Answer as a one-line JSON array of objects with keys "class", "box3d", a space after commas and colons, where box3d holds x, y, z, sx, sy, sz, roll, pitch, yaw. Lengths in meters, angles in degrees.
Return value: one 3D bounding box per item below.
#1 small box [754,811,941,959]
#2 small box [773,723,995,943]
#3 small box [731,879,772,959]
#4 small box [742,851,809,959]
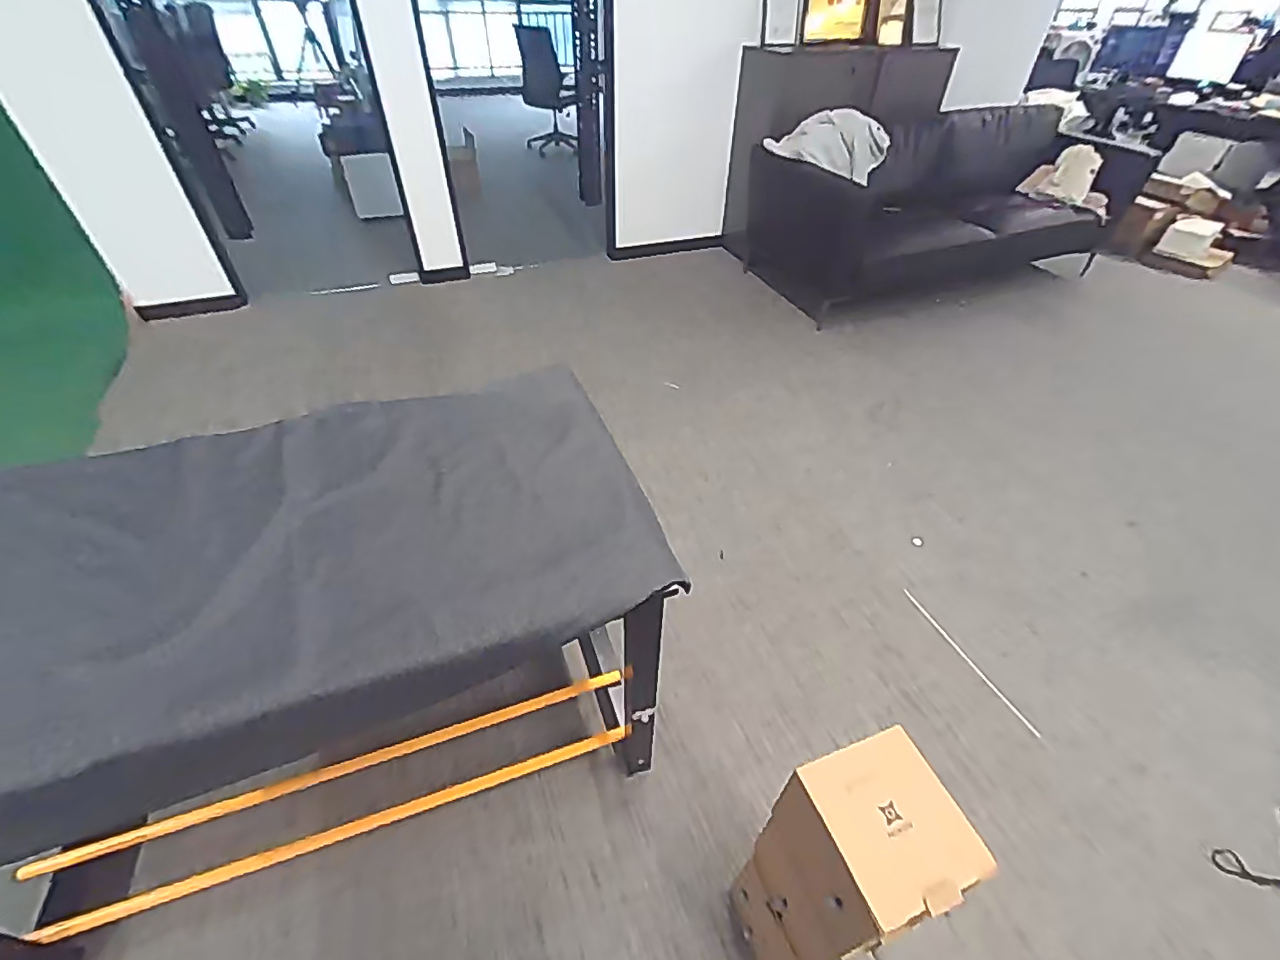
[{"class": "small box", "box3d": [0.291, 0.579, 0.802, 0.168, 0.176, 0.179, -12, 45, -17]}, {"class": "small box", "box3d": [0.295, 0.456, 0.697, 0.168, 0.176, 0.179, -14, 44, -17]}, {"class": "small box", "box3d": [0.292, 0.820, 1.024, 0.179, 0.176, 0.168, -12, 43, -16]}, {"class": "small box", "box3d": [0.286, 0.705, 0.908, 0.179, 0.176, 0.168, -14, 45, -18]}]
